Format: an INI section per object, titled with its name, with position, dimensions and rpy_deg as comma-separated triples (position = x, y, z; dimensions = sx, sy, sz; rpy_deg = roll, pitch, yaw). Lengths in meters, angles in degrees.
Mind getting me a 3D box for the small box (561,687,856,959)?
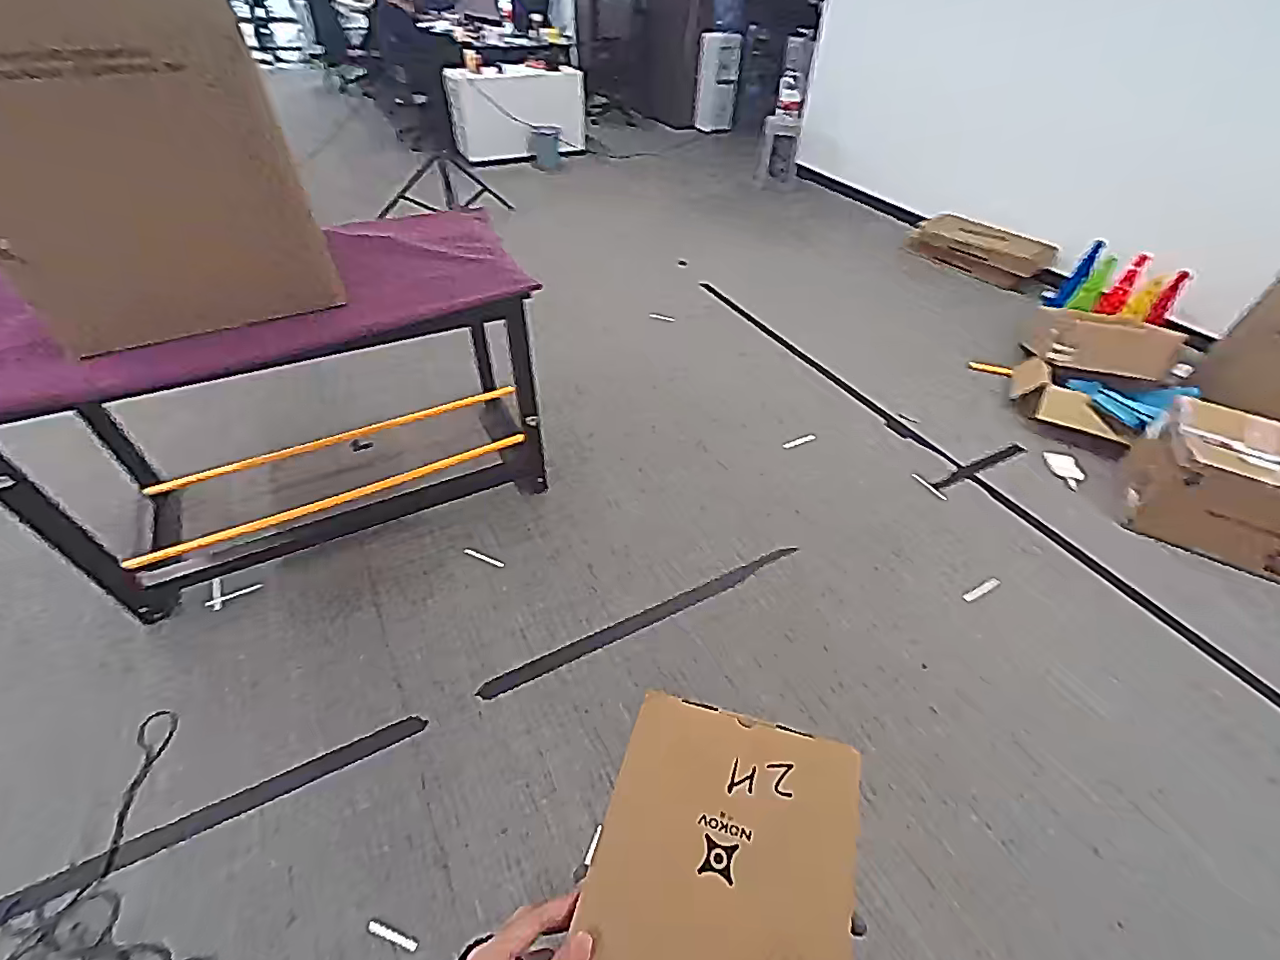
[small box]
position = 0.062, 0.295, 0.414
dimensions = 0.168, 0.176, 0.179
rpy_deg = 9, 48, 17
